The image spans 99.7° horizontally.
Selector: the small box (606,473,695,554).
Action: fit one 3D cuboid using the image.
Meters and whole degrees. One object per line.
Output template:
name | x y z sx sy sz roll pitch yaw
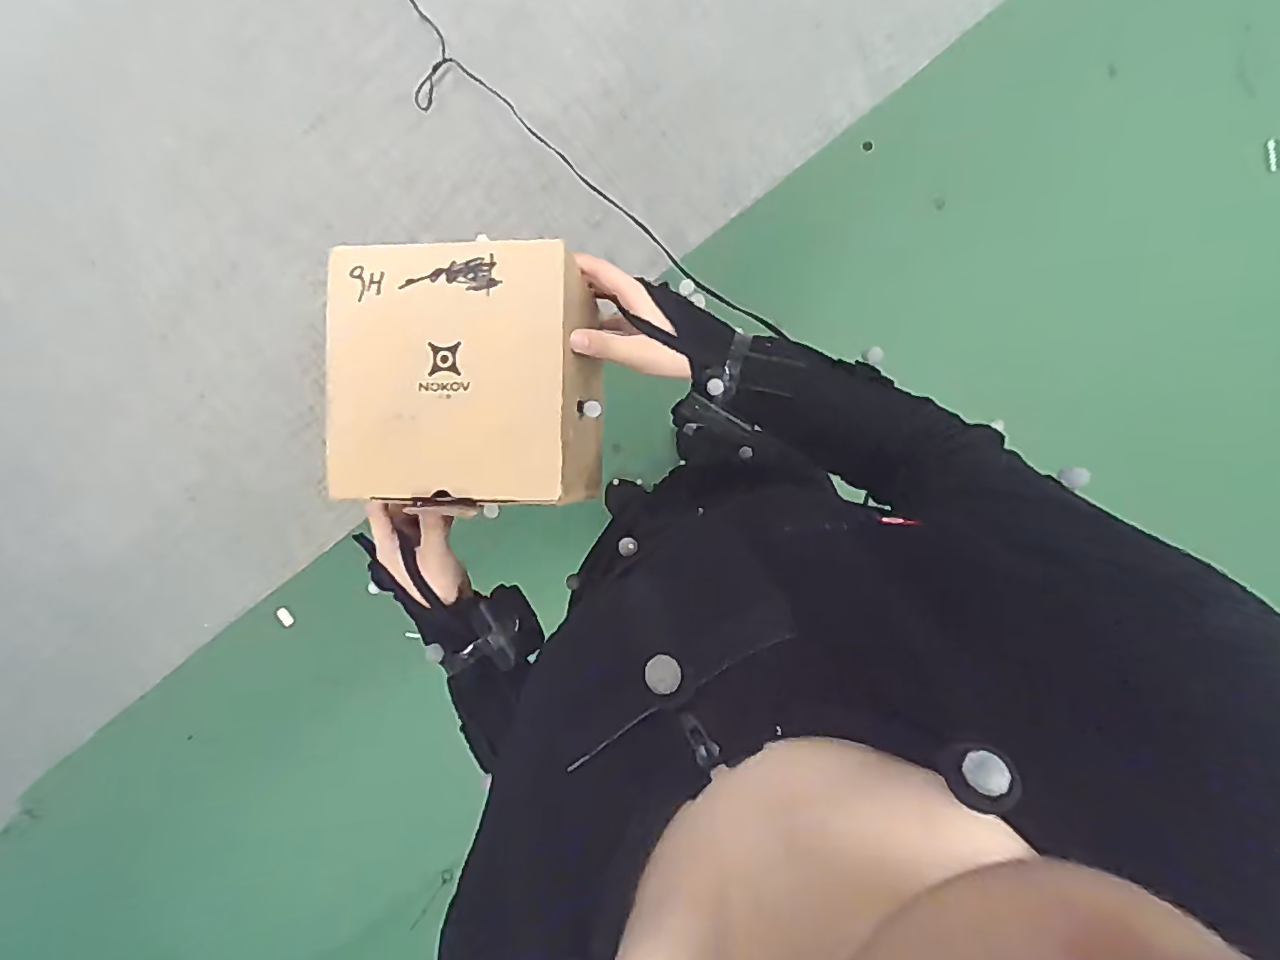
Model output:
small box | 0.028 0.080 1.328 0.179 0.176 0.168 -10 91 12
